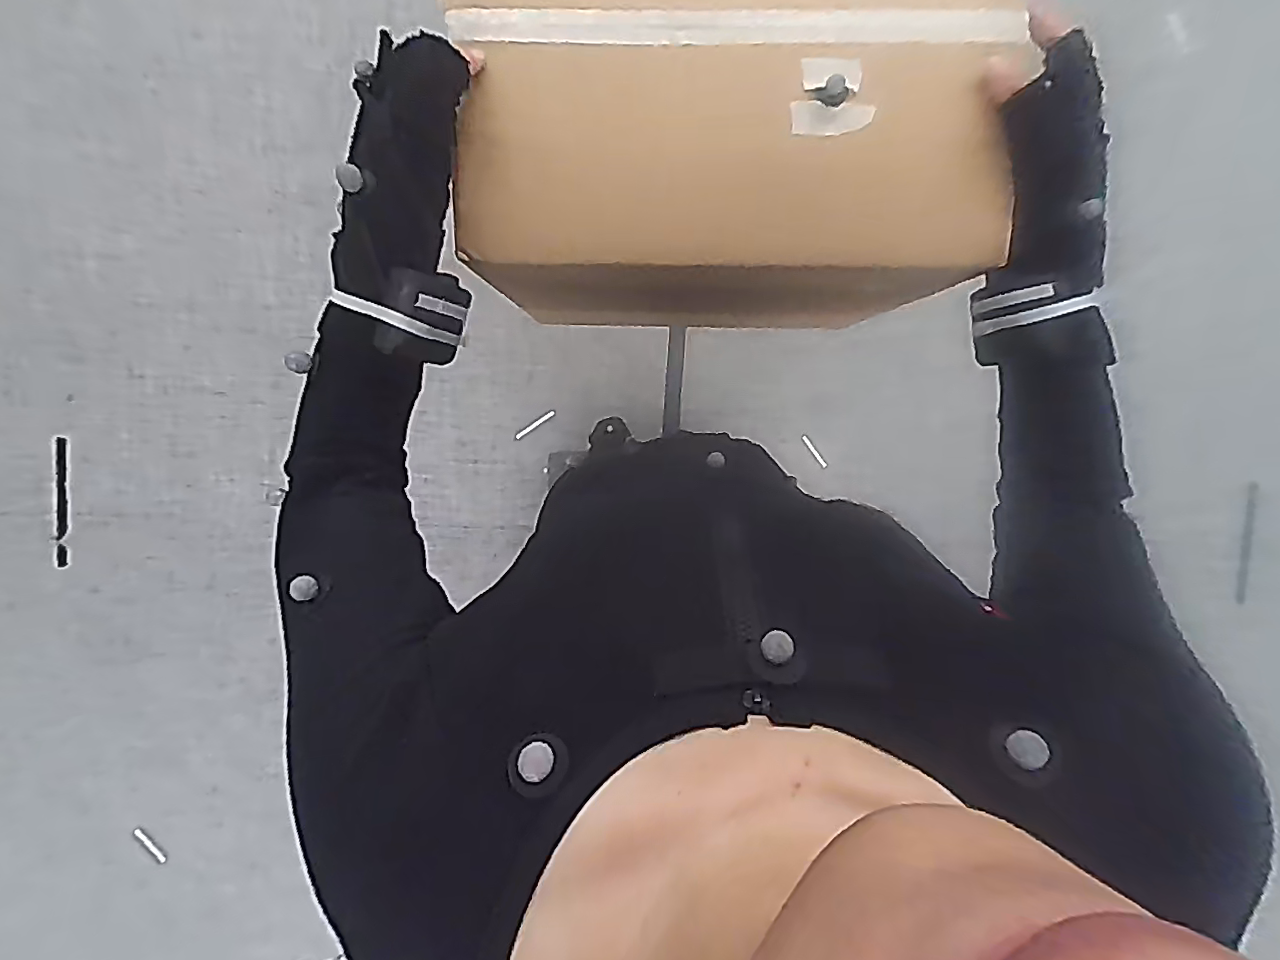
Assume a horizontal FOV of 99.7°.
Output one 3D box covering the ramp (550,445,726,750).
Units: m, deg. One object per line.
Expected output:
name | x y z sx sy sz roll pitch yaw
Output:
ramp | -0.019 0.389 1.620 0.509 0.206 0.991 0 96 -2

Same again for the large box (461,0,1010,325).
large box | 0.066 -0.340 0.541 0.408 0.320 0.320 0 98 0
